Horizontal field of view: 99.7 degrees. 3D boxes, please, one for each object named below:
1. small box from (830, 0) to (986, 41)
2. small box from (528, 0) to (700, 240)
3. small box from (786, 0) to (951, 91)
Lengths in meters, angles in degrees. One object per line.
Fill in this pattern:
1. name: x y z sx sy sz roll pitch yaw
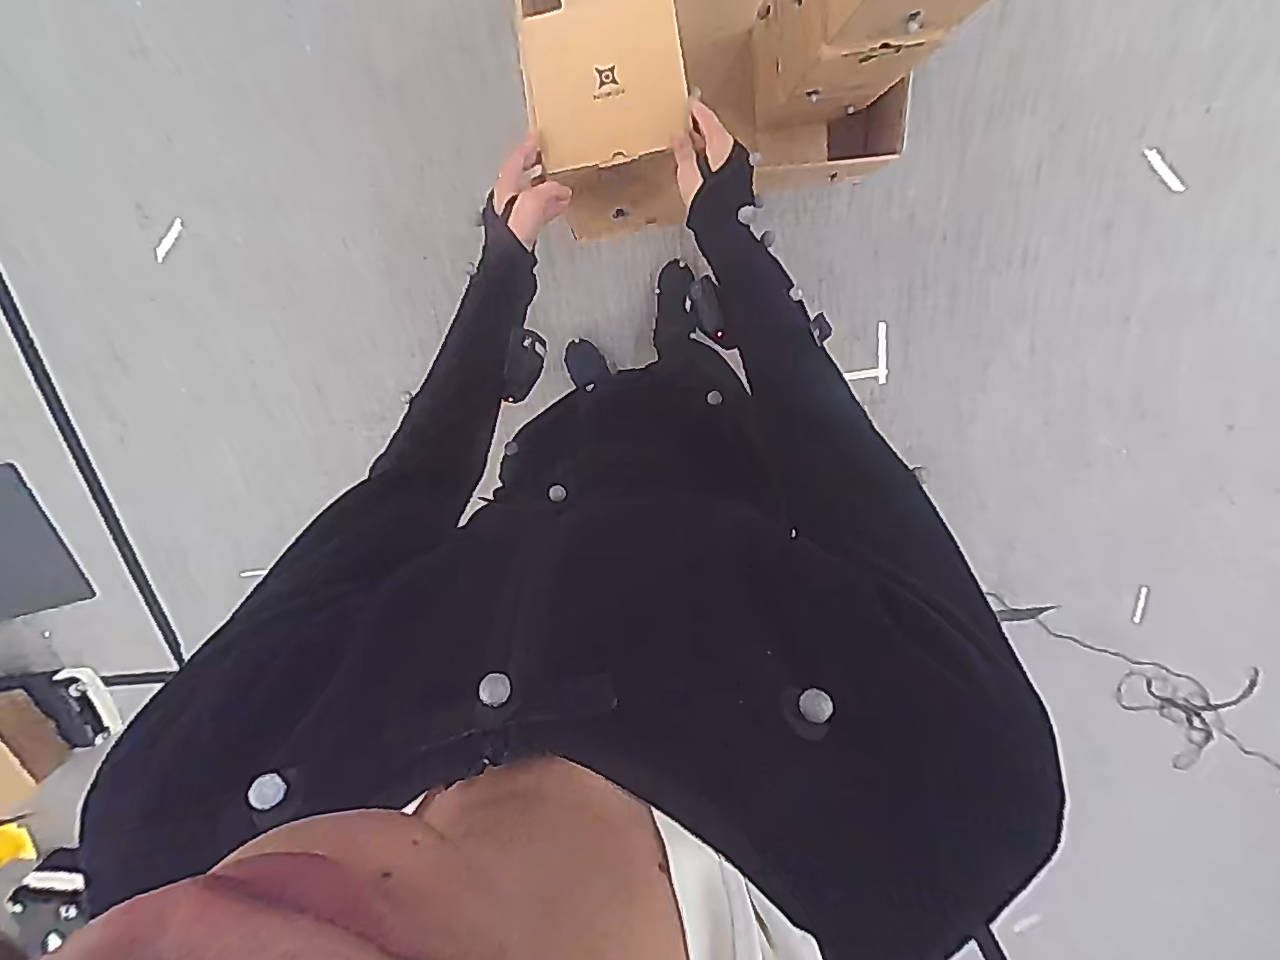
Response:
1. small box: 0.307 -0.609 0.568 0.168 0.176 0.179 -7 111 2
2. small box: -0.022 -0.420 0.649 0.168 0.176 0.179 -9 91 6
3. small box: 0.299 -0.653 0.727 0.168 0.176 0.179 -7 110 2
